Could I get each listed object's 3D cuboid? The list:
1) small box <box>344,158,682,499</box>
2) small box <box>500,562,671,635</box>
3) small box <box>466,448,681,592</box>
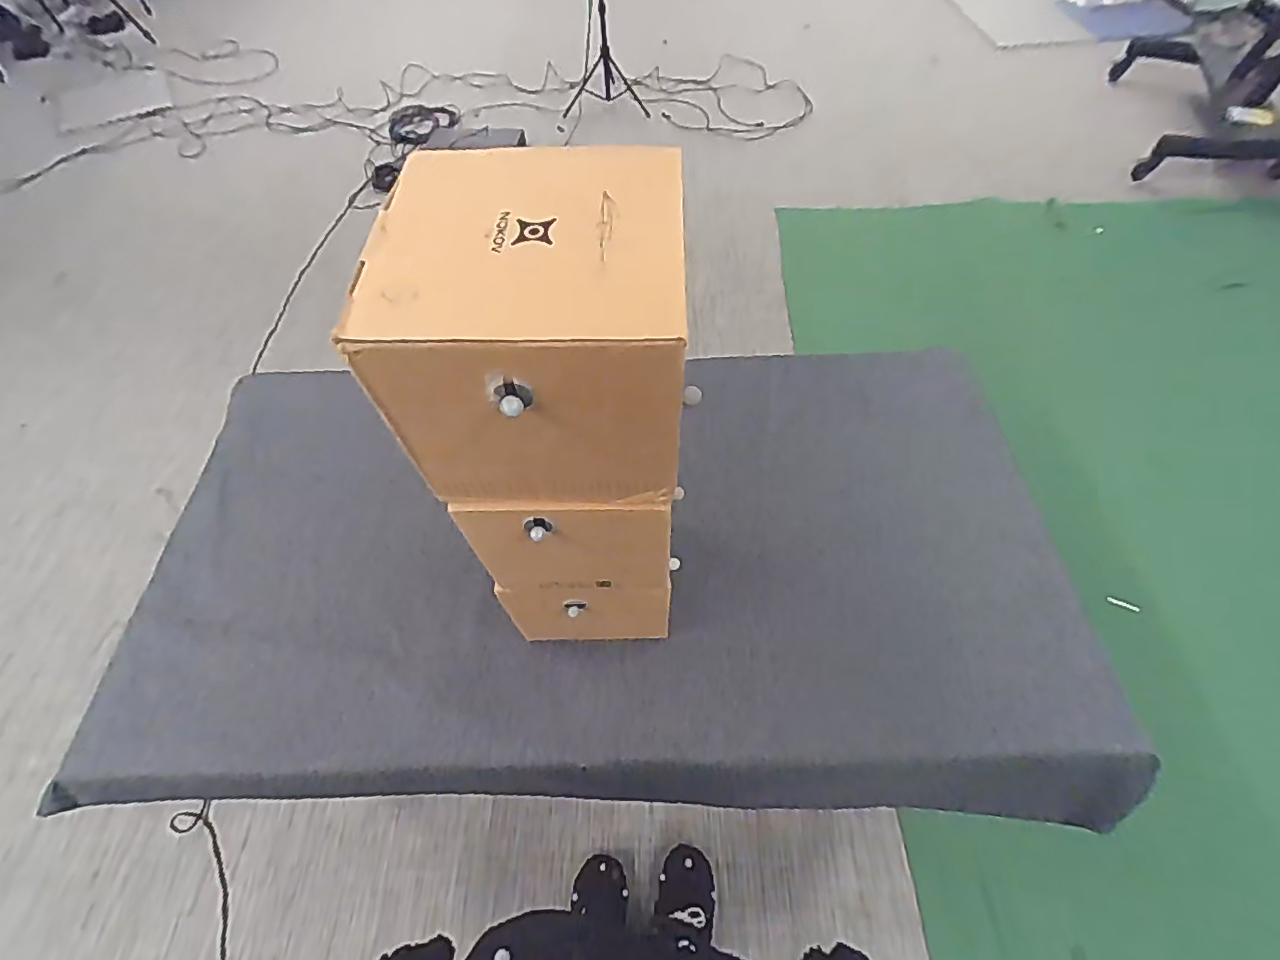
[{"bbox_3d":[-0.061,-0.095,0.380,0.179,0.176,0.168,0,60,1],"label":"small box"},{"bbox_3d":[-0.053,0.083,0.652,0.179,0.176,0.168,-1,57,1],"label":"small box"},{"bbox_3d":[-0.052,-0.006,0.519,0.168,0.176,0.179,-2,58,0],"label":"small box"}]
